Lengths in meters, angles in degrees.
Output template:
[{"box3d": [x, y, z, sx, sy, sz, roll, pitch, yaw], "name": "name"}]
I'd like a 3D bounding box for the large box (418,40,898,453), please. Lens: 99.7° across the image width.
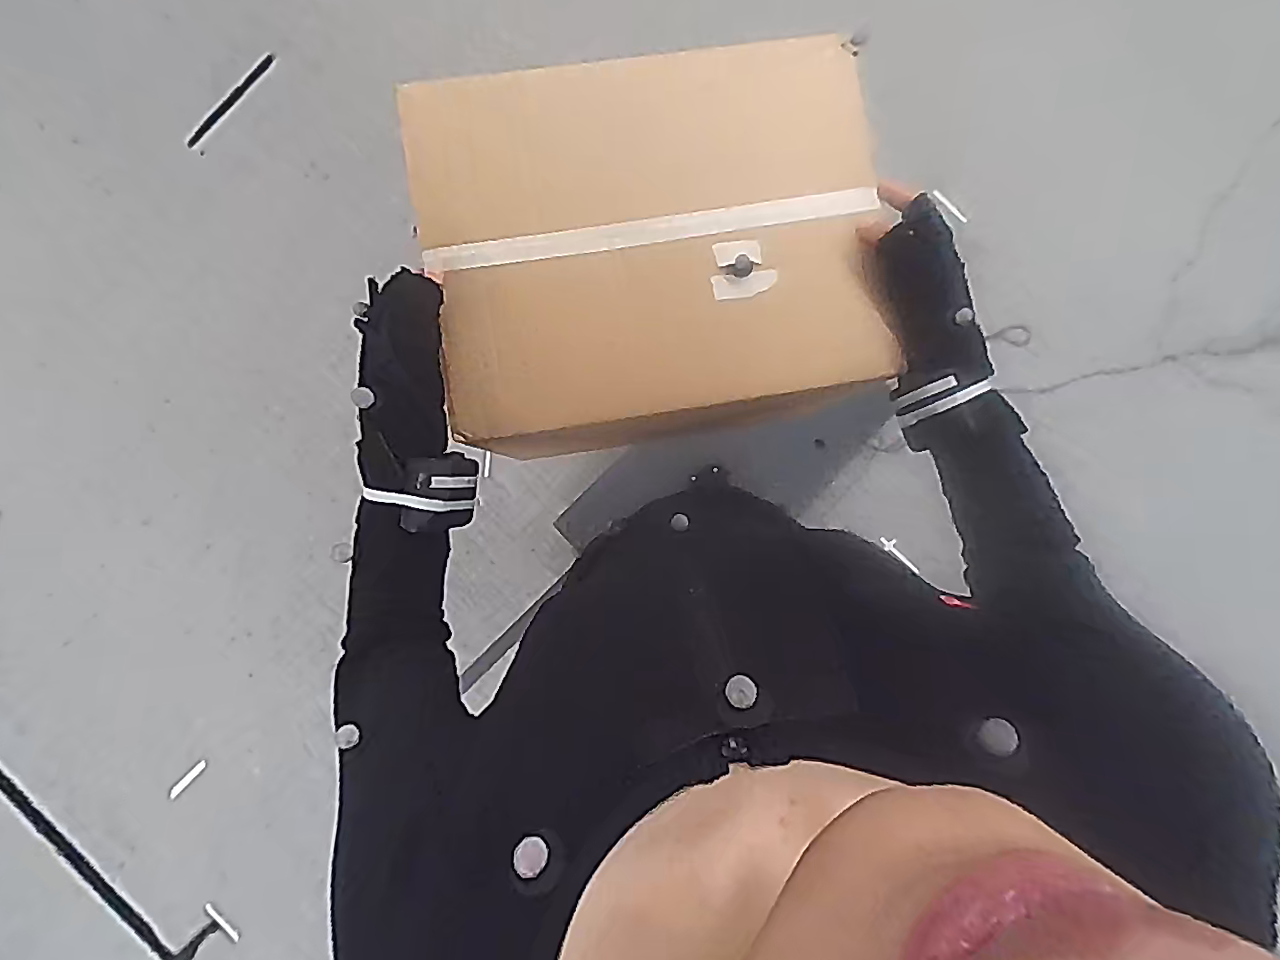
[{"box3d": [0.010, -0.224, 0.636, 0.408, 0.320, 0.320, -9, 90, -4], "name": "large box"}]
